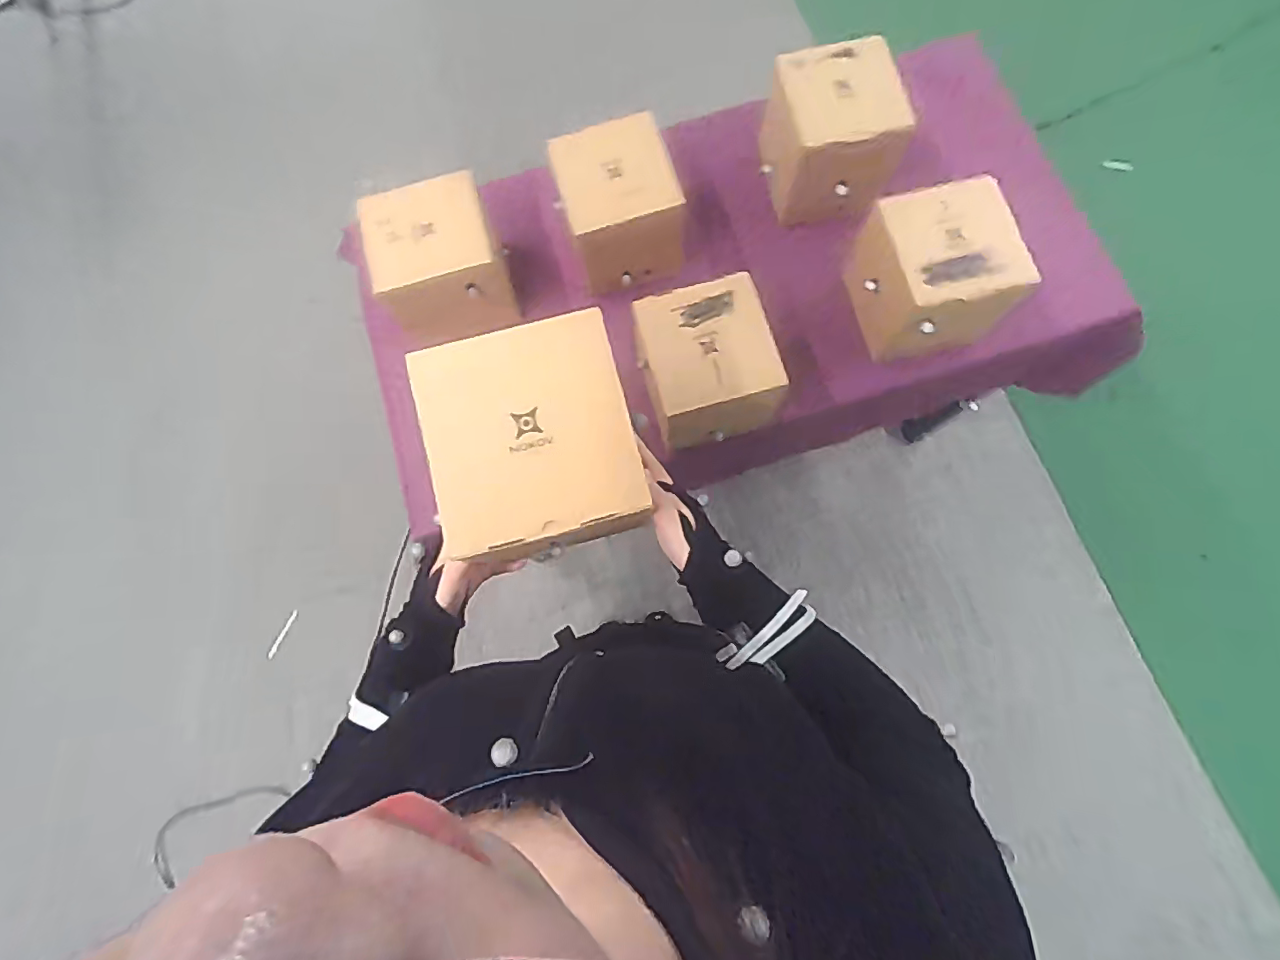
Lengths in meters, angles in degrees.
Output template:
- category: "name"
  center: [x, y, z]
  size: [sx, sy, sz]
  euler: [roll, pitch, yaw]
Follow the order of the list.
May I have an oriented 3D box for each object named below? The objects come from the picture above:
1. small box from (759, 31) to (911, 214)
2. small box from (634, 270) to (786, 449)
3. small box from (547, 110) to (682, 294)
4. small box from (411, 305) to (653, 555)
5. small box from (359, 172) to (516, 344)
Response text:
- category: "small box"
  center: [0.299, -0.556, 0.869]
  size: [0.168, 0.176, 0.179]
  euler: [-11, 77, 1]
- category: "small box"
  center: [0.094, -0.166, 0.790]
  size: [0.168, 0.176, 0.179]
  euler: [-16, 76, 0]
- category: "small box"
  center: [-0.036, -0.433, 0.865]
  size: [0.168, 0.176, 0.179]
  euler: [-17, 77, 1]
- category: "small box"
  center: [-0.091, -0.033, 0.513]
  size: [0.168, 0.176, 0.179]
  euler: [-15, 82, -3]
- category: "small box"
  center: [-0.308, -0.341, 0.860]
  size: [0.179, 0.176, 0.168]
  euler: [-17, 76, 0]
